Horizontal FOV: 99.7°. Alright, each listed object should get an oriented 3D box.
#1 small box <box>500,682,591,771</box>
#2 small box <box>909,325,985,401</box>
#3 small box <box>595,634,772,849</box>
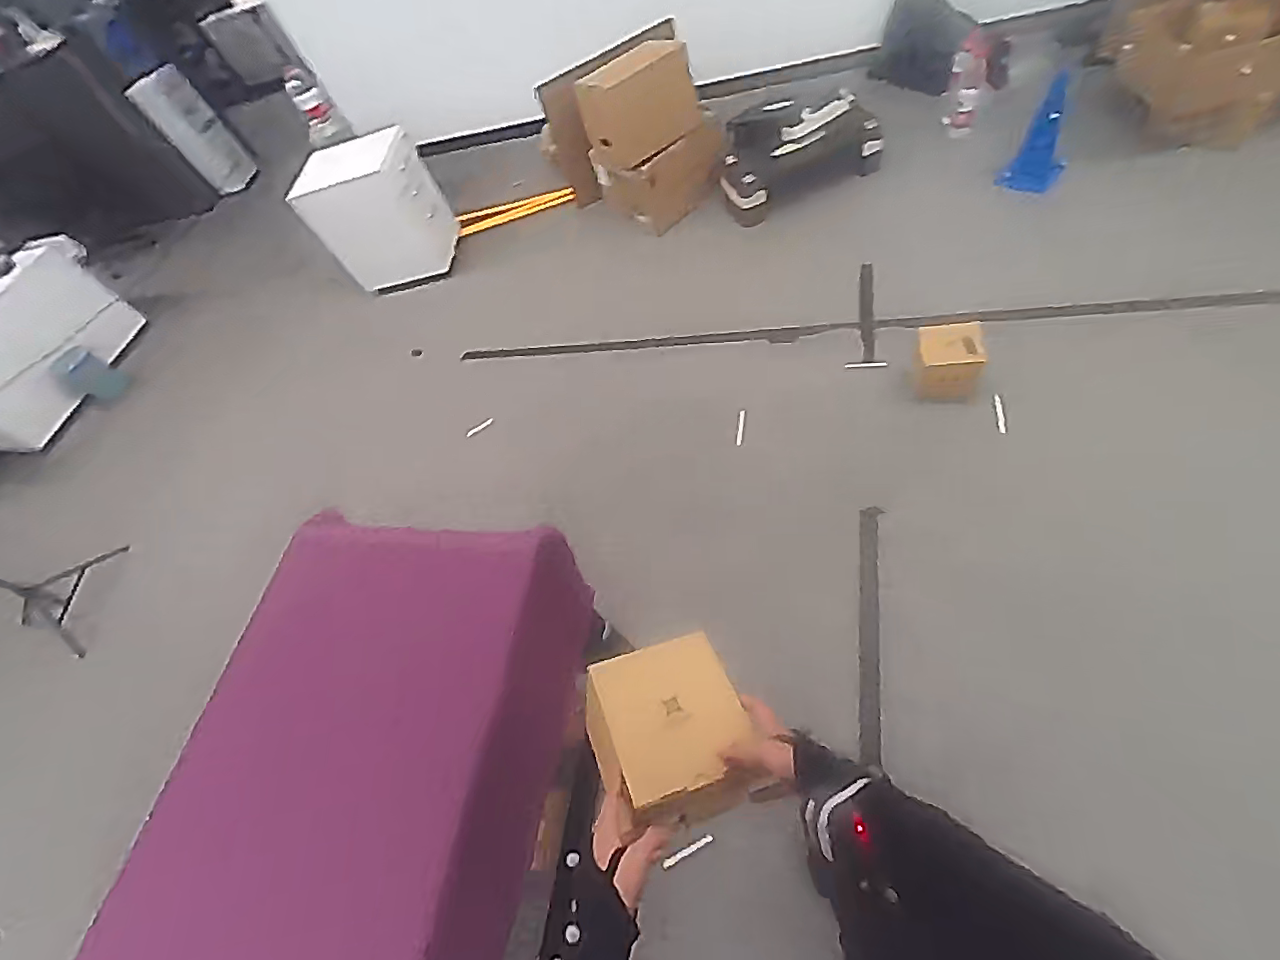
[{"bbox_3d":[-0.257,0.684,1.490,0.179,0.176,0.168,-25,55,3],"label":"small box"},{"bbox_3d":[0.977,-0.369,1.733,0.179,0.176,0.168,-2,59,18],"label":"small box"},{"bbox_3d":[0.041,0.338,0.706,0.168,0.176,0.179,-11,45,-18],"label":"small box"}]
